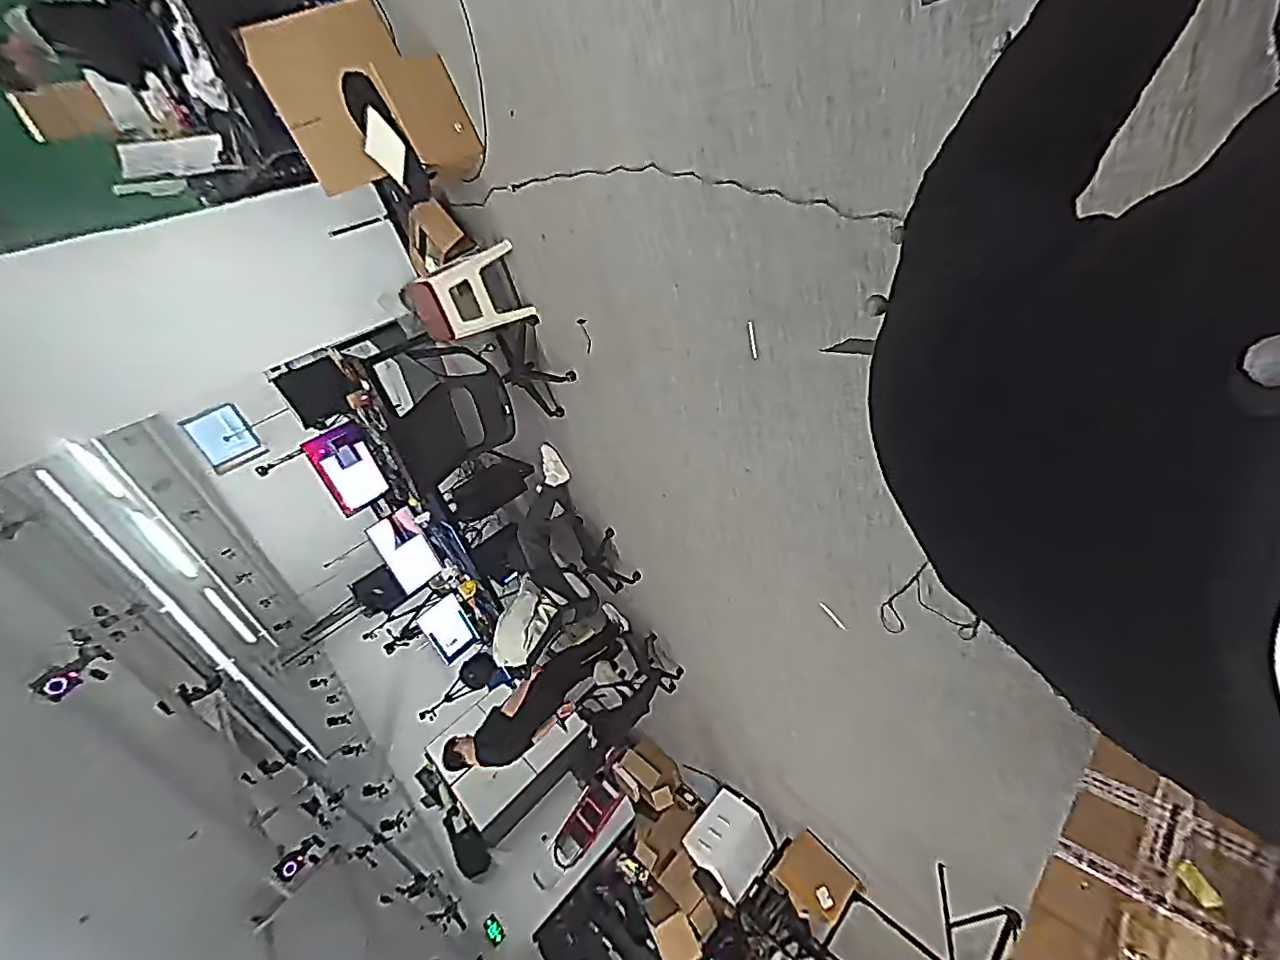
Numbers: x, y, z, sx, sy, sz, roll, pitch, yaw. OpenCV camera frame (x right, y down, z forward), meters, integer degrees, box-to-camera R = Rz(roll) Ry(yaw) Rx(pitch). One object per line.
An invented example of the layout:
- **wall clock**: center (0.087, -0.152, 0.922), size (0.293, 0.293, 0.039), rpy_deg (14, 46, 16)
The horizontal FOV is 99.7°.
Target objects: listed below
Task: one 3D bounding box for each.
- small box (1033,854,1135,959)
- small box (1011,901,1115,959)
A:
- **small box**: center (1.192, 1.159, 1.456), size (0.179, 0.176, 0.168), rpy_deg (11, 127, 51)
- **small box**: center (1.072, 1.233, 1.369), size (0.179, 0.176, 0.168), rpy_deg (11, 126, 51)
